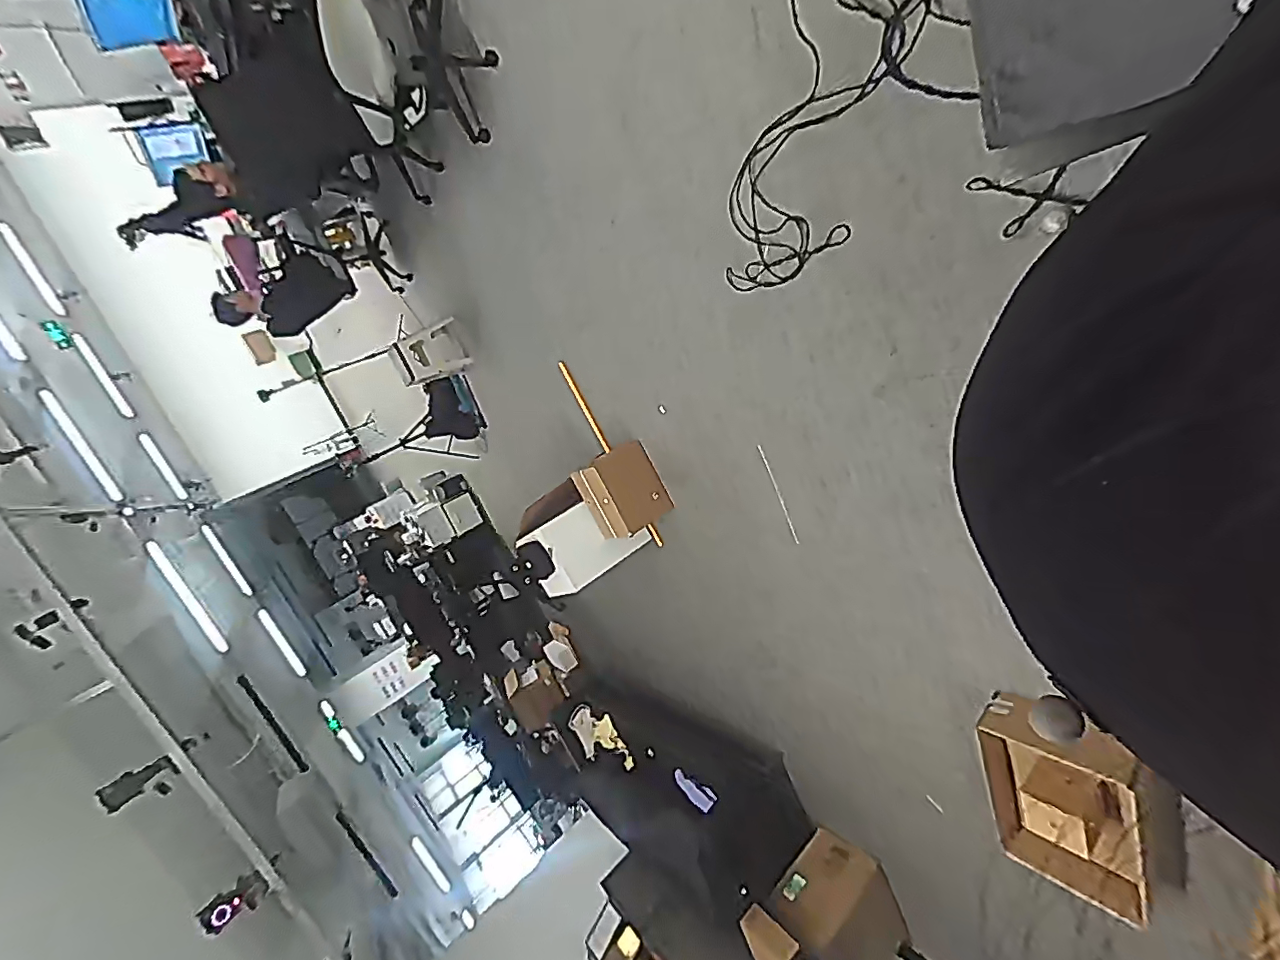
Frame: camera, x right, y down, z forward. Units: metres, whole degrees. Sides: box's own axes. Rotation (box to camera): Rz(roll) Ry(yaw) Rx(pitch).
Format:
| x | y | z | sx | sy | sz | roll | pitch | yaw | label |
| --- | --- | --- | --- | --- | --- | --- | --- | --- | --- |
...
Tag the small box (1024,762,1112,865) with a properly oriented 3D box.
| x | y | z | sx | sy | sz | roll | pitch | yaw | label |
| --- | --- | --- | --- | --- | --- | --- | --- | --- | --- |
| 1.337 | 1.031 | 1.685 | 0.168 | 0.176 | 0.179 | 5 | 122 | 56 | small box |
